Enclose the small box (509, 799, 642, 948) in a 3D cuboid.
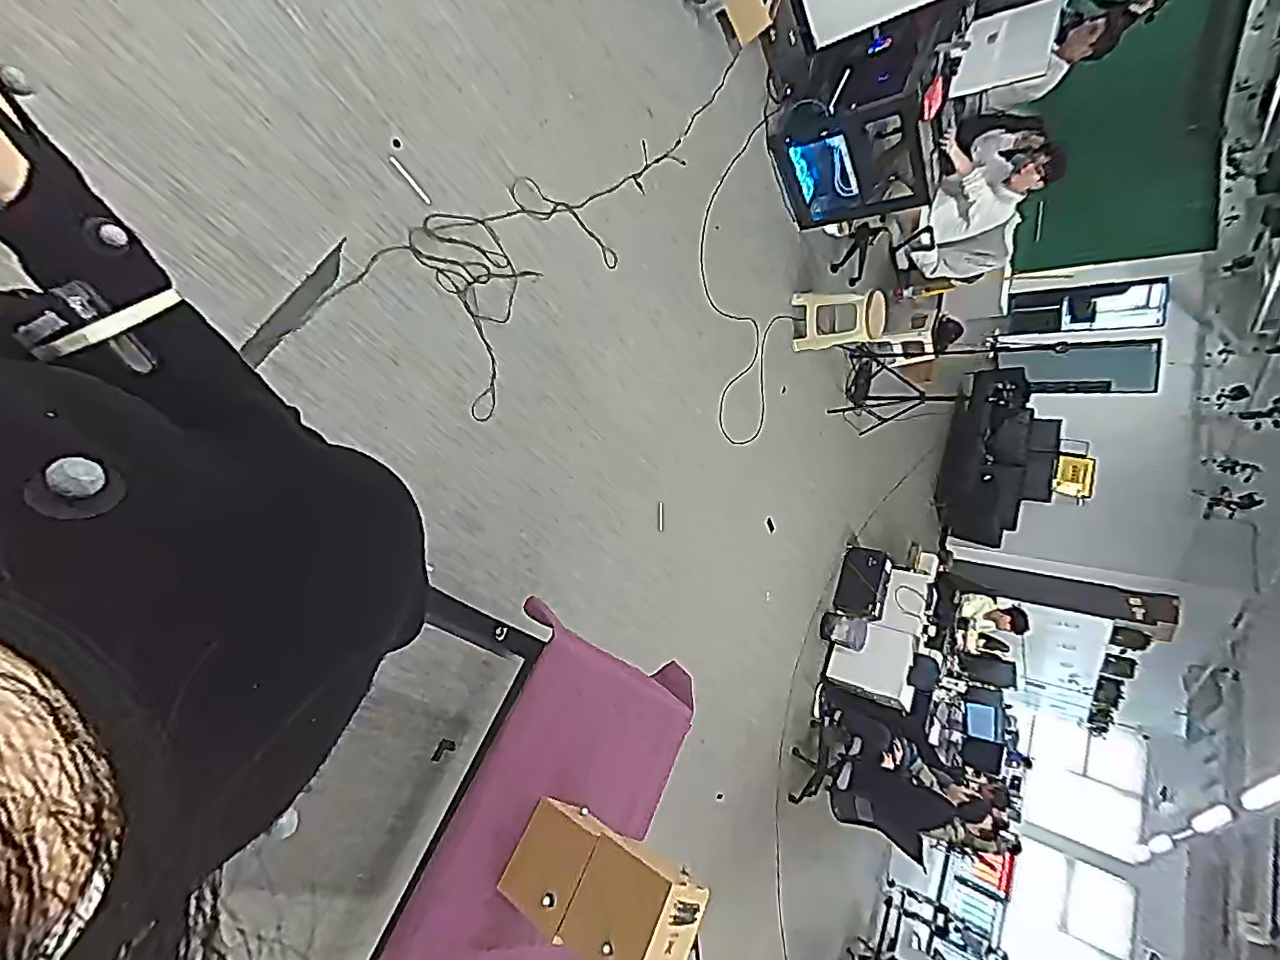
[{"bbox_3d":[-0.133,0.777,1.076,0.168,0.176,0.179,52,58,-41],"label":"small box"}]
